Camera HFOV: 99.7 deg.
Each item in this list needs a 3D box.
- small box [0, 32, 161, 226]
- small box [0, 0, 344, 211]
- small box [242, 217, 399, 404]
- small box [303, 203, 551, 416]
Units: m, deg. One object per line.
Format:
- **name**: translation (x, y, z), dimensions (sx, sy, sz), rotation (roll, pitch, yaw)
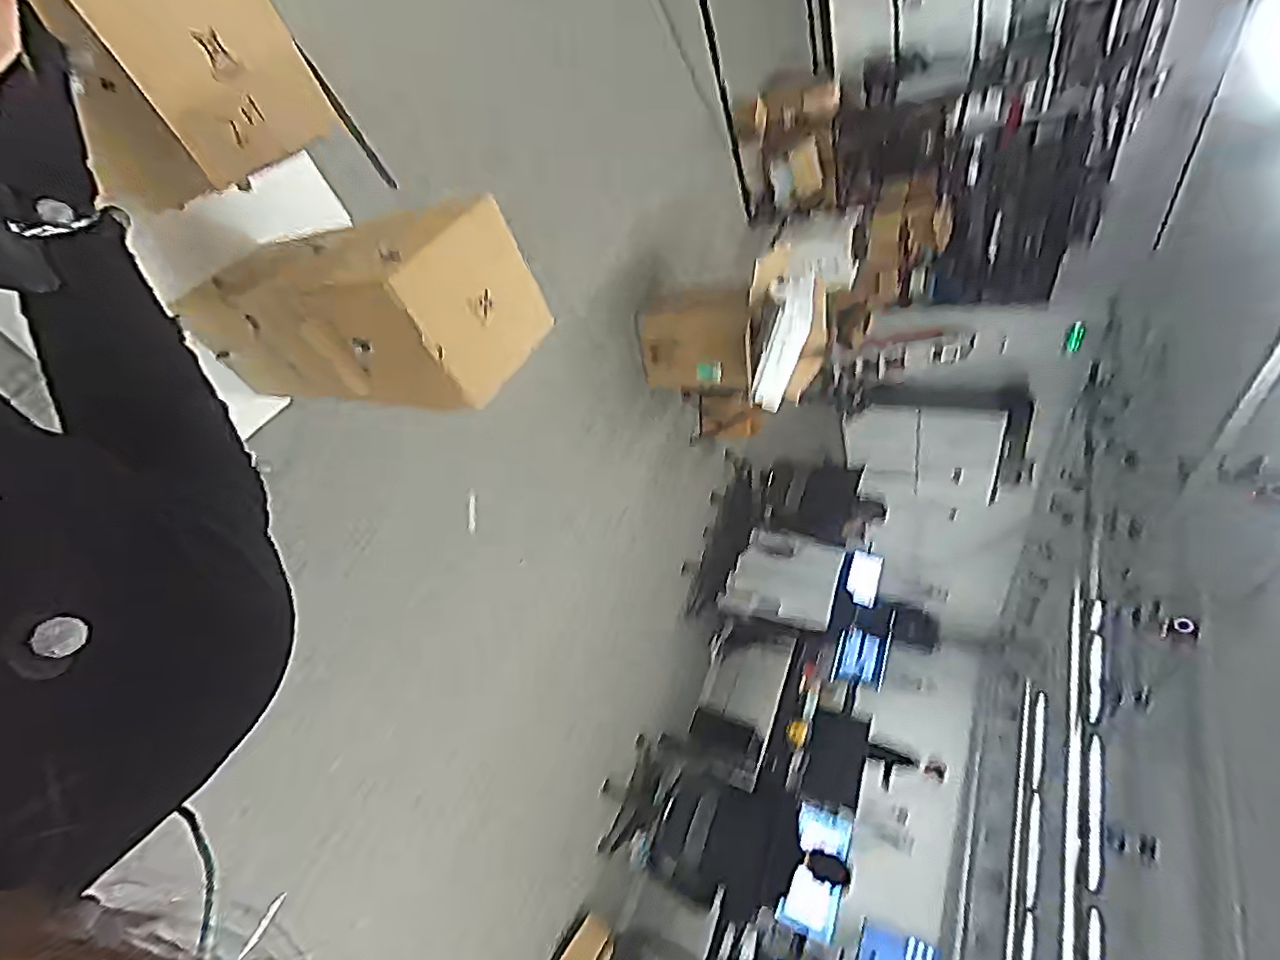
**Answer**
- **small box**: translation (-0.597, -0.420, 0.630), dimensions (0.179, 0.176, 0.168), rotation (-60, 142, -34)
- **small box**: translation (-0.458, -0.398, 0.544), dimensions (0.168, 0.176, 0.179), rotation (-58, 143, -33)
- **small box**: translation (-0.380, -0.219, 0.719), dimensions (0.179, 0.176, 0.168), rotation (-61, 143, -32)
- **small box**: translation (-0.242, -0.198, 0.636), dimensions (0.179, 0.176, 0.168), rotation (-60, 143, -31)
